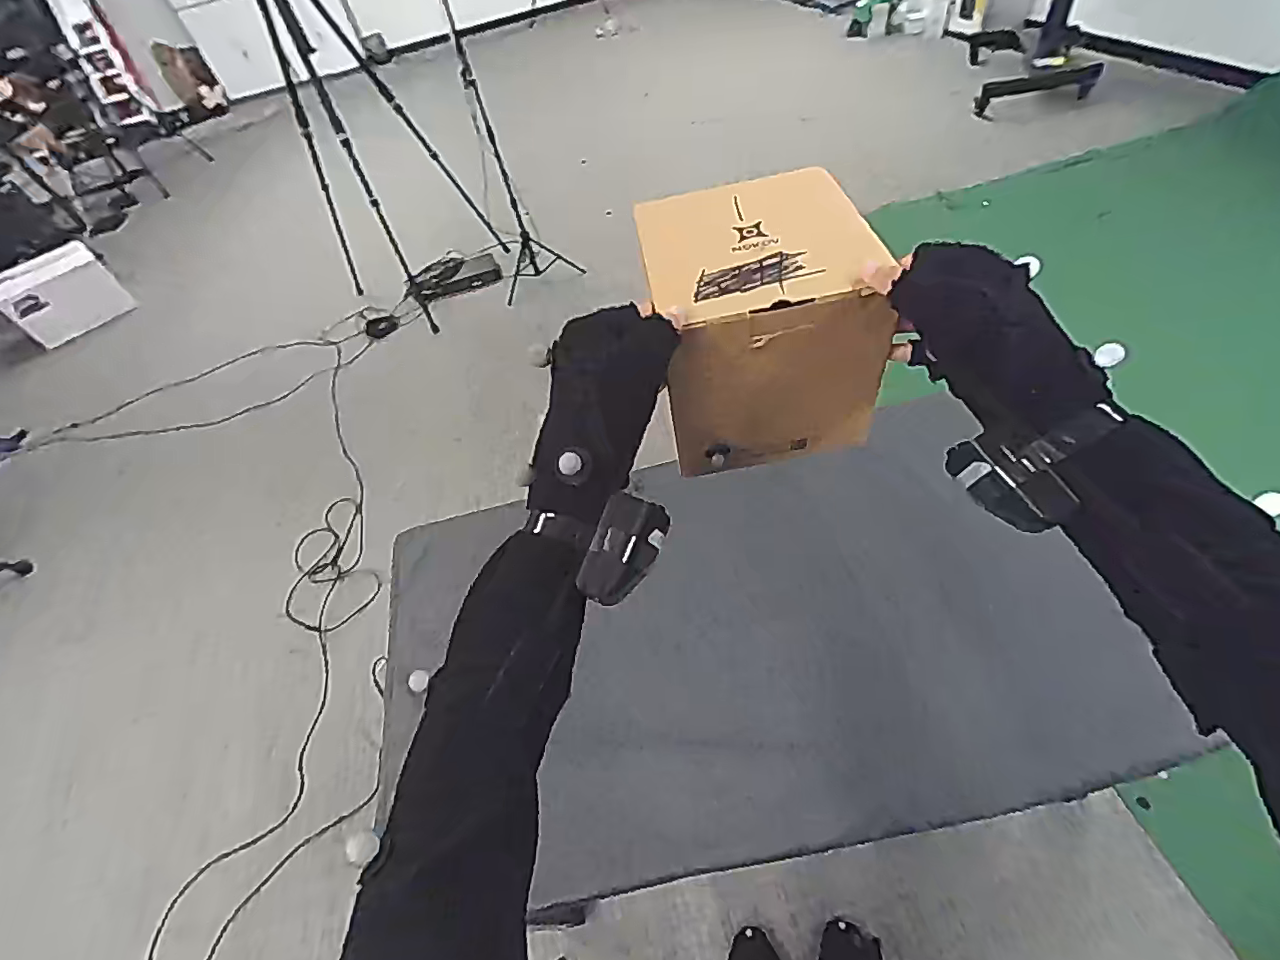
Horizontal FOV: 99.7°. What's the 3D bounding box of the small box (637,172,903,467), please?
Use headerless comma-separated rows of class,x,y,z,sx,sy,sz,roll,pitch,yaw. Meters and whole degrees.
small box,0.098,-0.127,0.468,0.168,0.176,0.179,-10,52,3
